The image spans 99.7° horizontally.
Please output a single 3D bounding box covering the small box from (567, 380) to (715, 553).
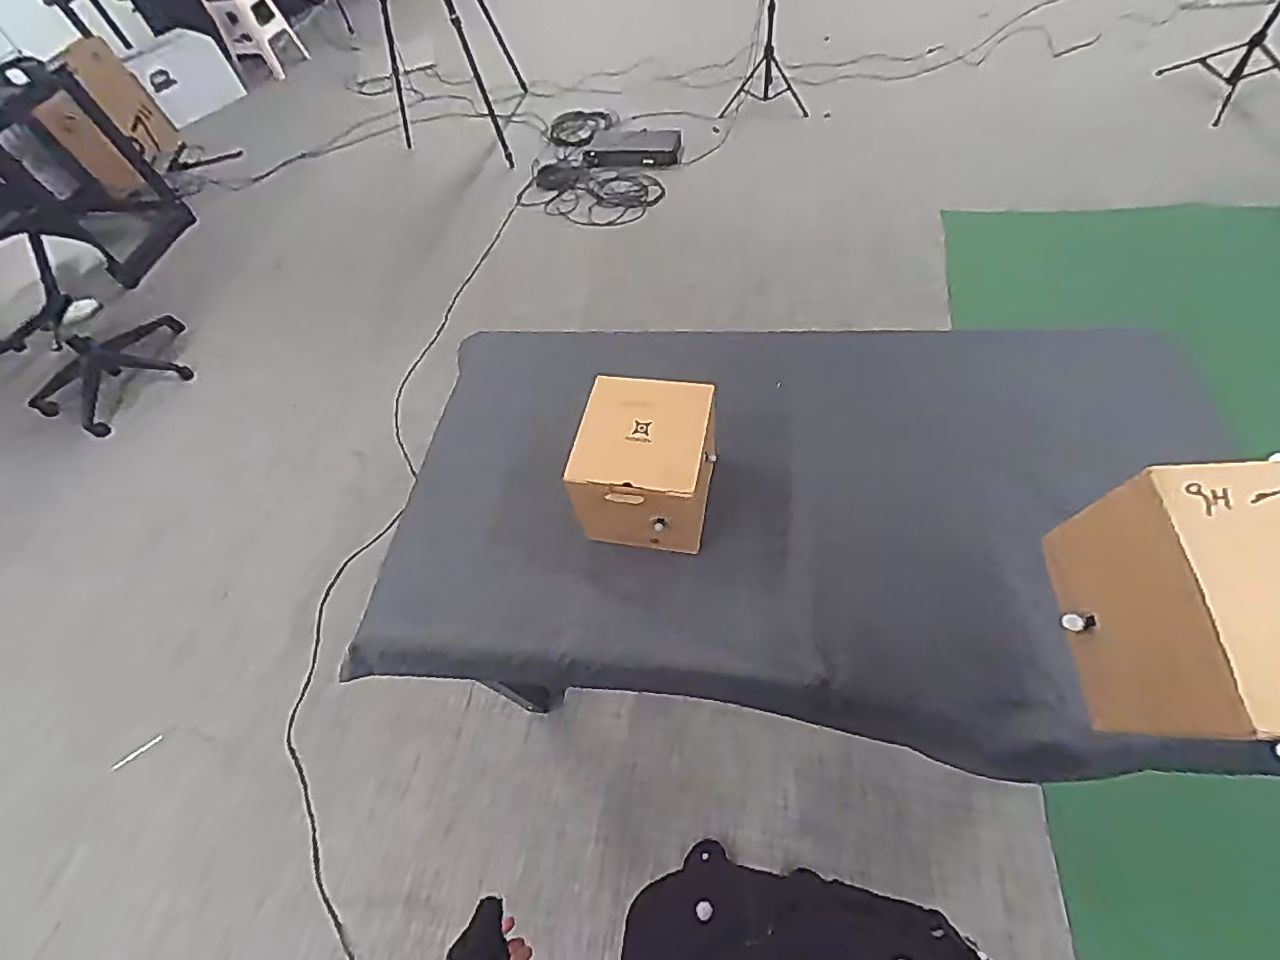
[{"bbox_3d":[0.013,-0.015,0.757,0.168,0.176,0.179,7,57,11],"label":"small box"}]
